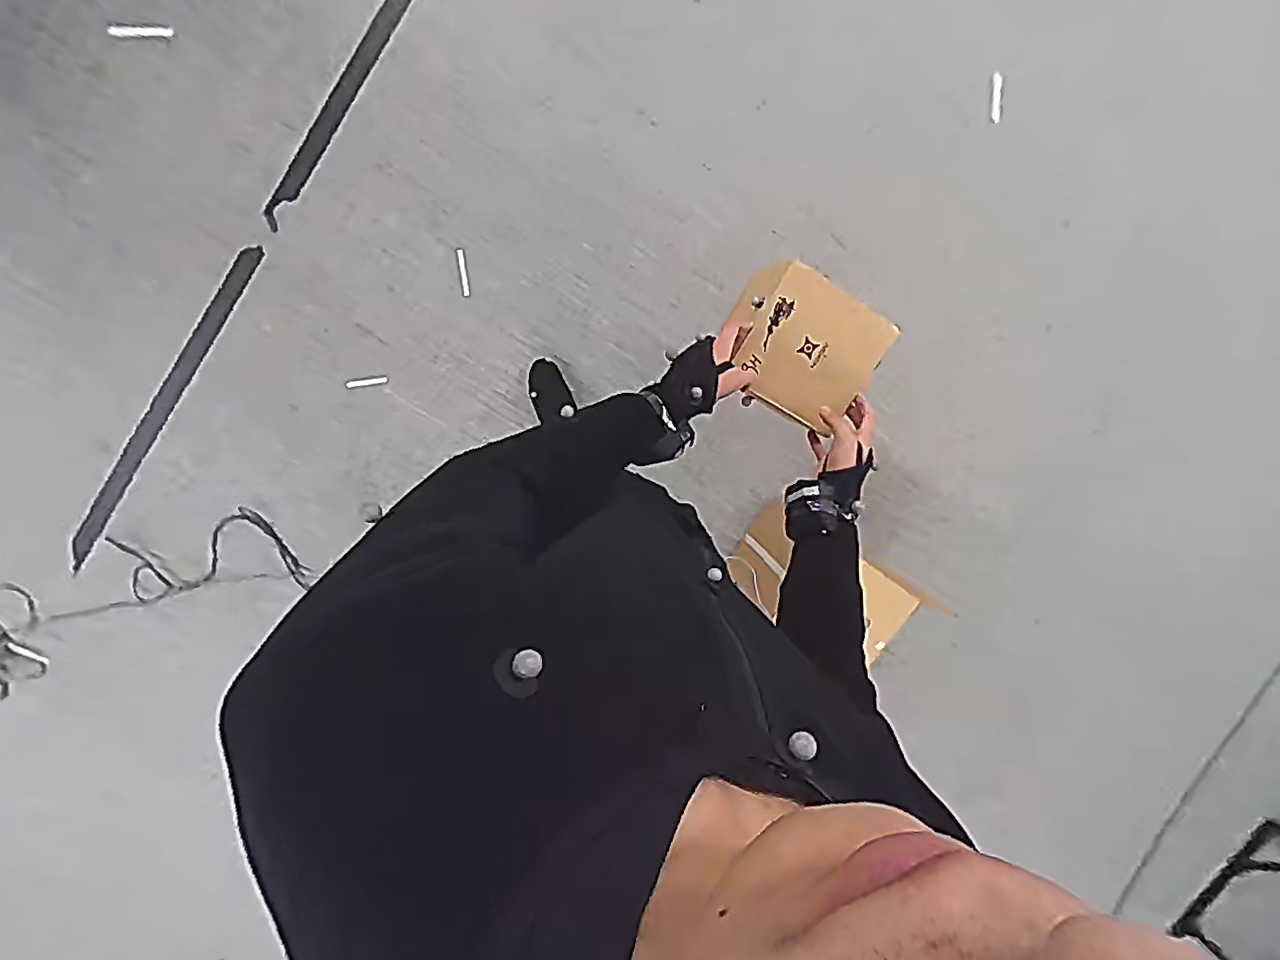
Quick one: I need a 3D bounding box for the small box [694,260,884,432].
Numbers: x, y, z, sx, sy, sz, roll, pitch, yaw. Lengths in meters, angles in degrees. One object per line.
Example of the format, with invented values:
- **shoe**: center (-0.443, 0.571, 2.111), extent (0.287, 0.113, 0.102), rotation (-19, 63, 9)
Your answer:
- **small box**: center (0.203, -0.196, 0.787), extent (0.179, 0.176, 0.168), rotation (28, 102, -13)
